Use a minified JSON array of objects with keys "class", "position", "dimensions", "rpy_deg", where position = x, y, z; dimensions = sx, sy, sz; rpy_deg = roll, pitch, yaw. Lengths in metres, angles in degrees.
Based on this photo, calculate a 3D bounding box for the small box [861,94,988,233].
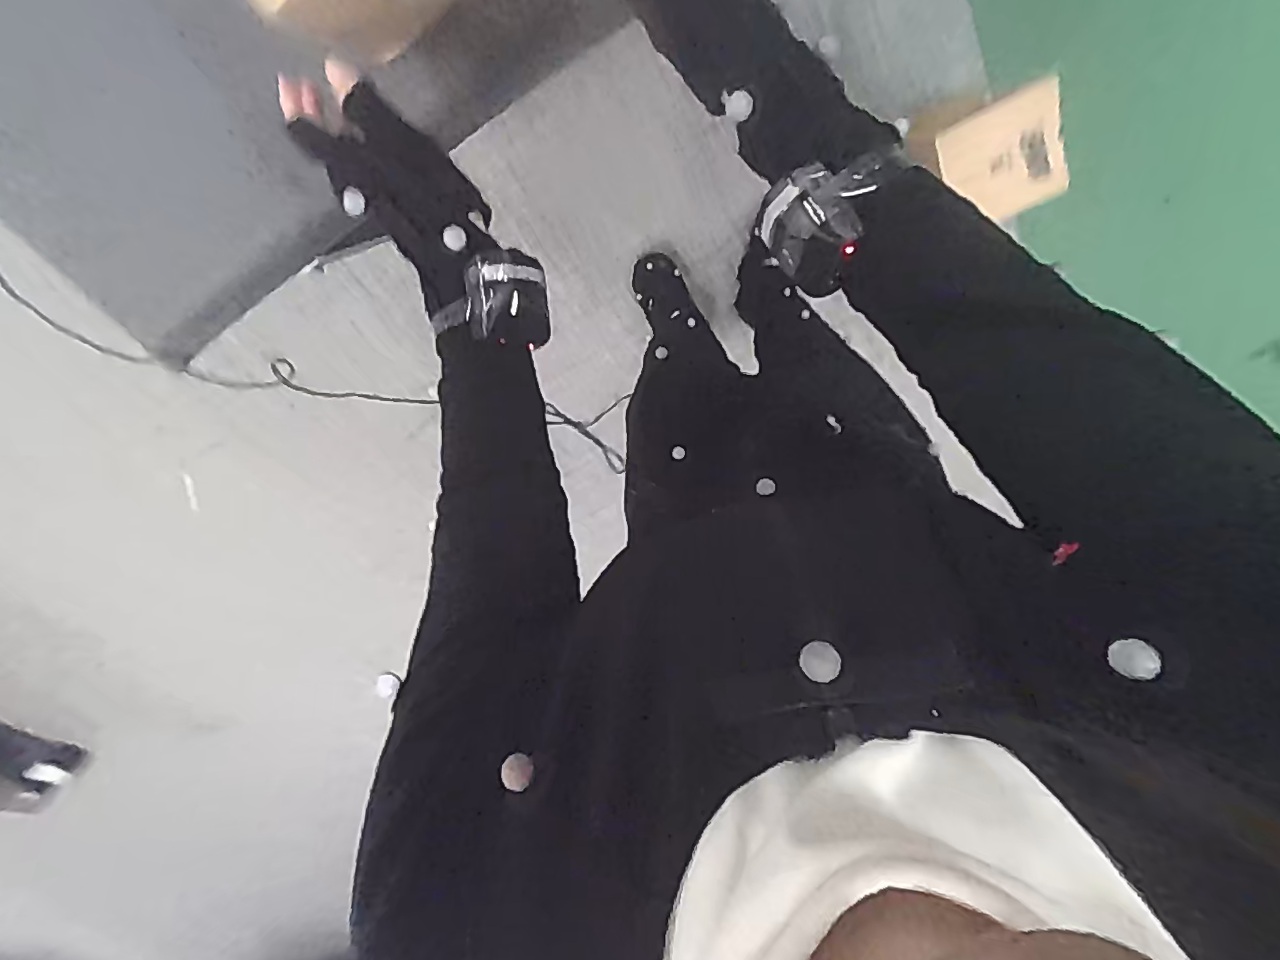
[{"class":"small box","position":[0.561,-0.613,1.053],"dimensions":[0.179,0.176,0.168],"rpy_deg":[-23,117,17]}]

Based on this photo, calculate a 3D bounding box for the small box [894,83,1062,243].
[{"class":"small box","position":[0.560,-0.529,0.911],"dimensions":[0.179,0.176,0.168],"rpy_deg":[-22,117,15]}]

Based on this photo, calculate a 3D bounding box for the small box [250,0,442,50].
[{"class":"small box","position":[-0.192,-0.419,0.339],"dimensions":[0.179,0.176,0.168],"rpy_deg":[-27,116,17]}]
